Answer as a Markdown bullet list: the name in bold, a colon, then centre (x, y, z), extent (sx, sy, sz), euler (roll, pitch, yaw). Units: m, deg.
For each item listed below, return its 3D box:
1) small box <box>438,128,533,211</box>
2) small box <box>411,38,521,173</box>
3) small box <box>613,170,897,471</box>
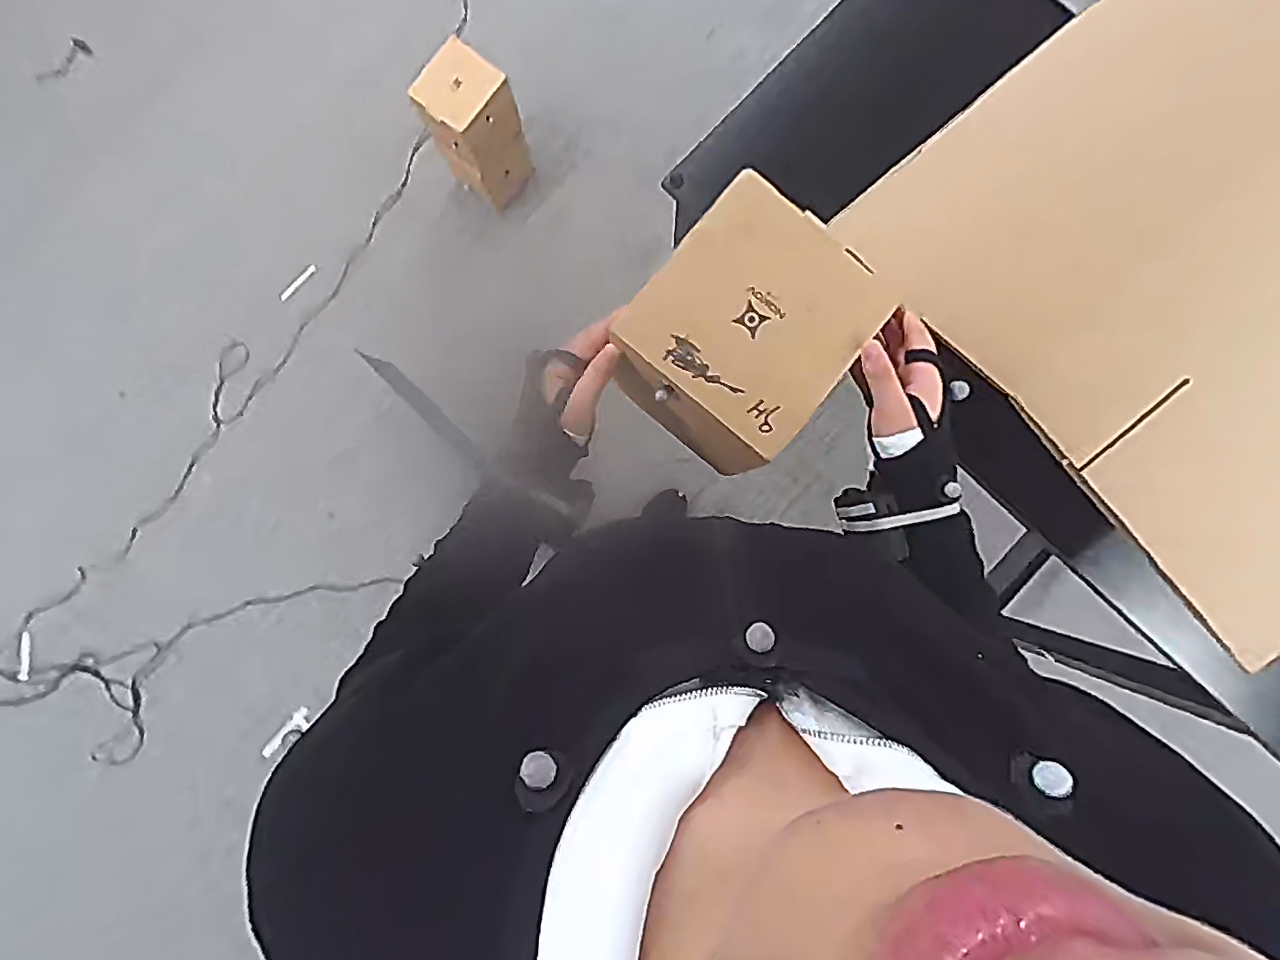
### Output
- **small box**: centre (-0.413, -0.892, 1.490), extent (0.168, 0.176, 0.179), euler (41, 89, 3)
- **small box**: centre (-0.415, -0.906, 1.328), extent (0.168, 0.176, 0.179), euler (38, 87, 2)
- **small box**: centre (0.087, -0.128, 0.503), extent (0.168, 0.176, 0.179), euler (39, 85, 1)
